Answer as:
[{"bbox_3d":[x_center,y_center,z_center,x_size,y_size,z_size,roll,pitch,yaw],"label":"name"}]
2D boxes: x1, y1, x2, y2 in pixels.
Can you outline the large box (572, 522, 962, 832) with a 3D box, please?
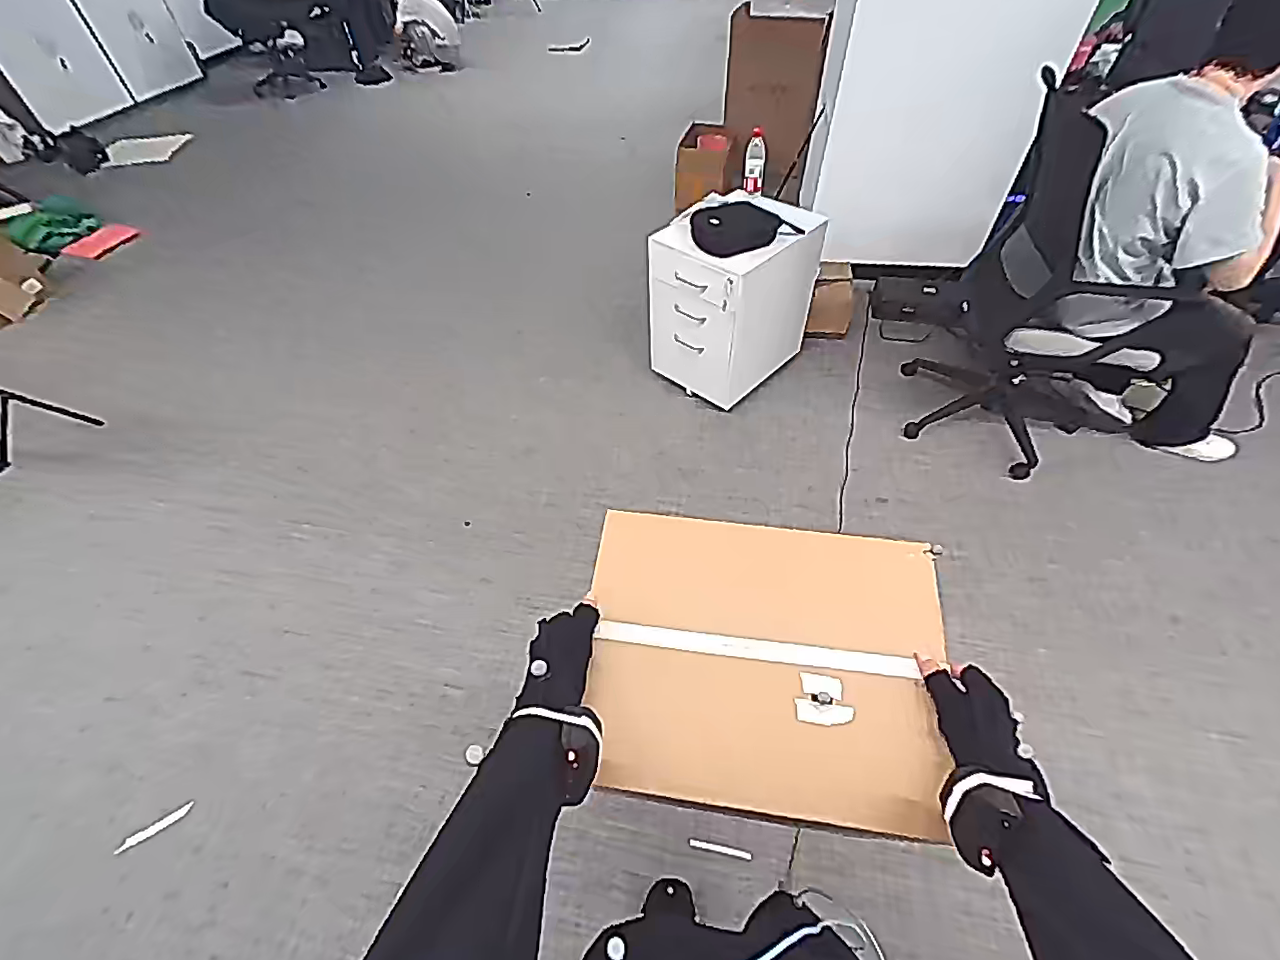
[{"bbox_3d":[0.145,0.279,0.753,0.408,0.320,0.320,6,59,6],"label":"large box"}]
